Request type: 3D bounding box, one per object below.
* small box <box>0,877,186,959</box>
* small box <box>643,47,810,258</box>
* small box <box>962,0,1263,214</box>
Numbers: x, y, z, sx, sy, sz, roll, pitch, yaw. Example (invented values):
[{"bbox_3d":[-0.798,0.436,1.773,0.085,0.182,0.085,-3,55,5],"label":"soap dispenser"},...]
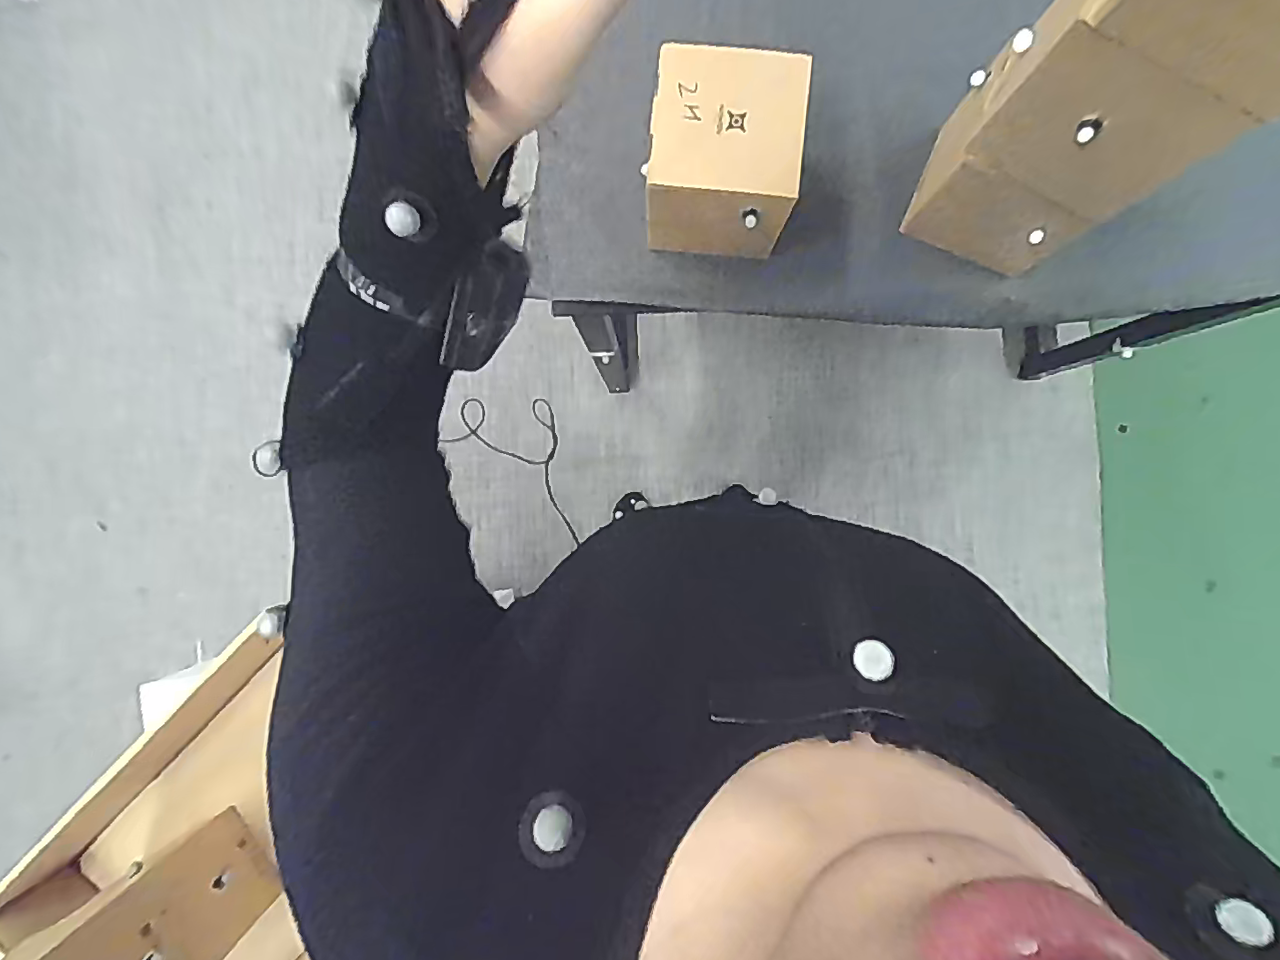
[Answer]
[{"bbox_3d":[-0.690,0.622,0.623,0.179,0.176,0.168,-30,91,-1],"label":"small box"},{"bbox_3d":[0.101,-0.403,0.694,0.179,0.176,0.168,6,89,2],"label":"small box"},{"bbox_3d":[0.464,-0.391,0.518,0.179,0.176,0.168,31,89,3],"label":"small box"}]
